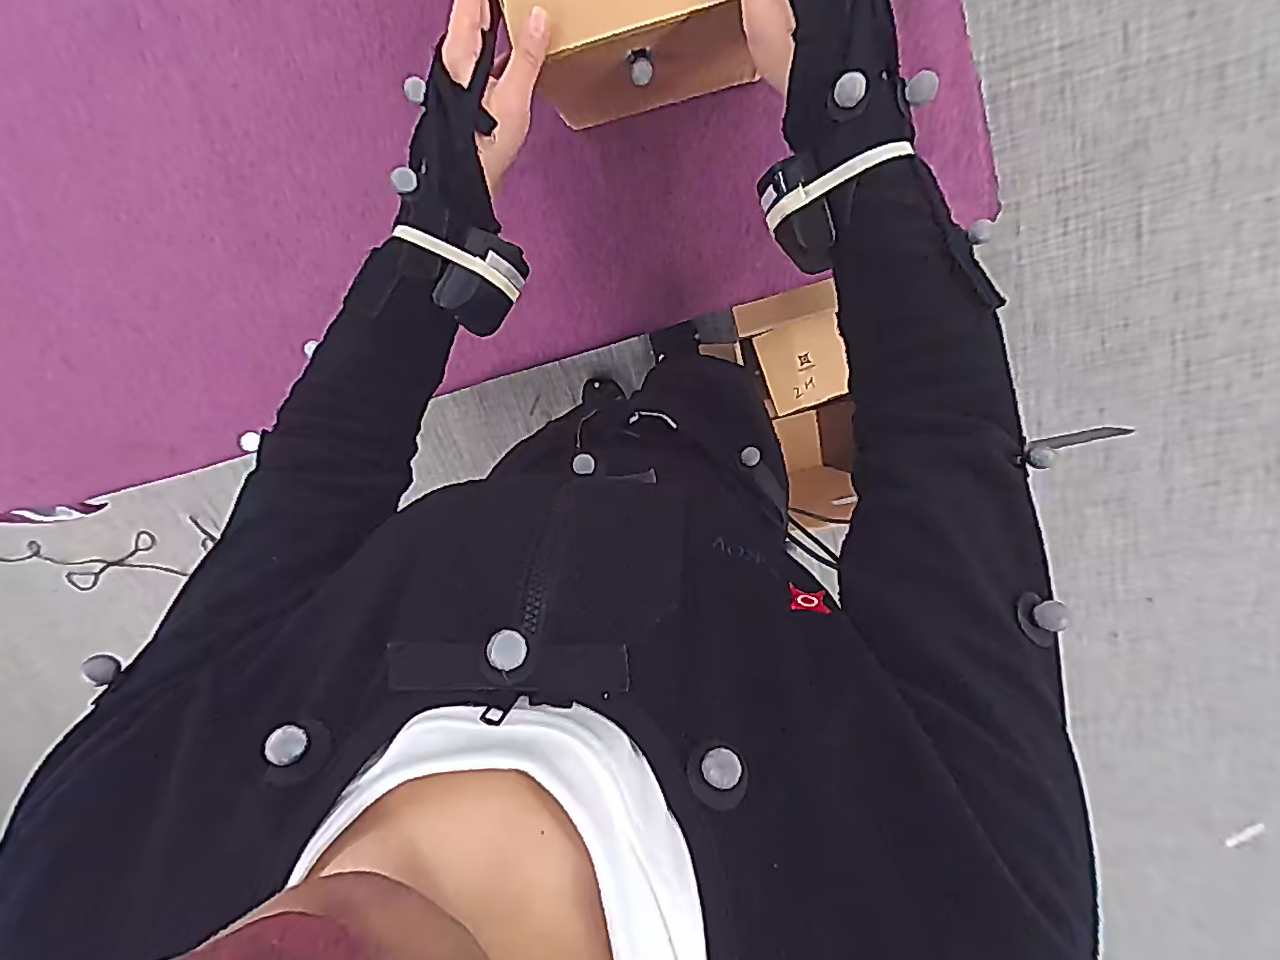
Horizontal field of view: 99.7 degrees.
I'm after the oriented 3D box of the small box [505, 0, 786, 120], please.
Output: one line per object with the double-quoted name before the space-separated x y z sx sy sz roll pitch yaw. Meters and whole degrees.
"small box" 0.000 -0.384 0.381 0.179 0.176 0.168 -8 110 11
